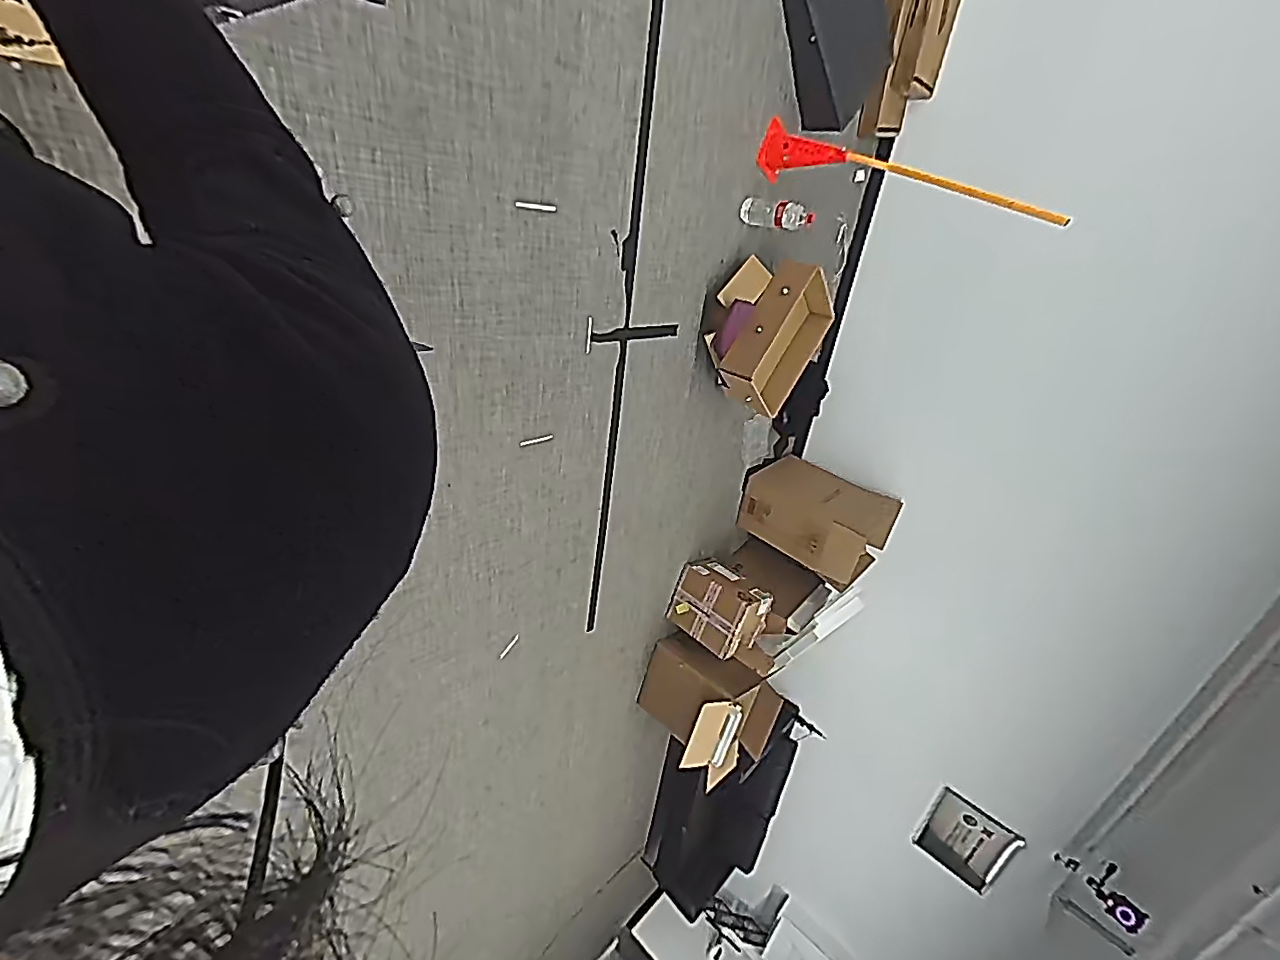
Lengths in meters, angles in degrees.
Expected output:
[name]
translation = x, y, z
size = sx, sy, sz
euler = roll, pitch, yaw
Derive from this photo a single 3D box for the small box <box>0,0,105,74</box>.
[small box]
translation = -0.943, -0.729, 0.800
size = 0.168, 0.176, 0.179
euler = -21, 128, -42
